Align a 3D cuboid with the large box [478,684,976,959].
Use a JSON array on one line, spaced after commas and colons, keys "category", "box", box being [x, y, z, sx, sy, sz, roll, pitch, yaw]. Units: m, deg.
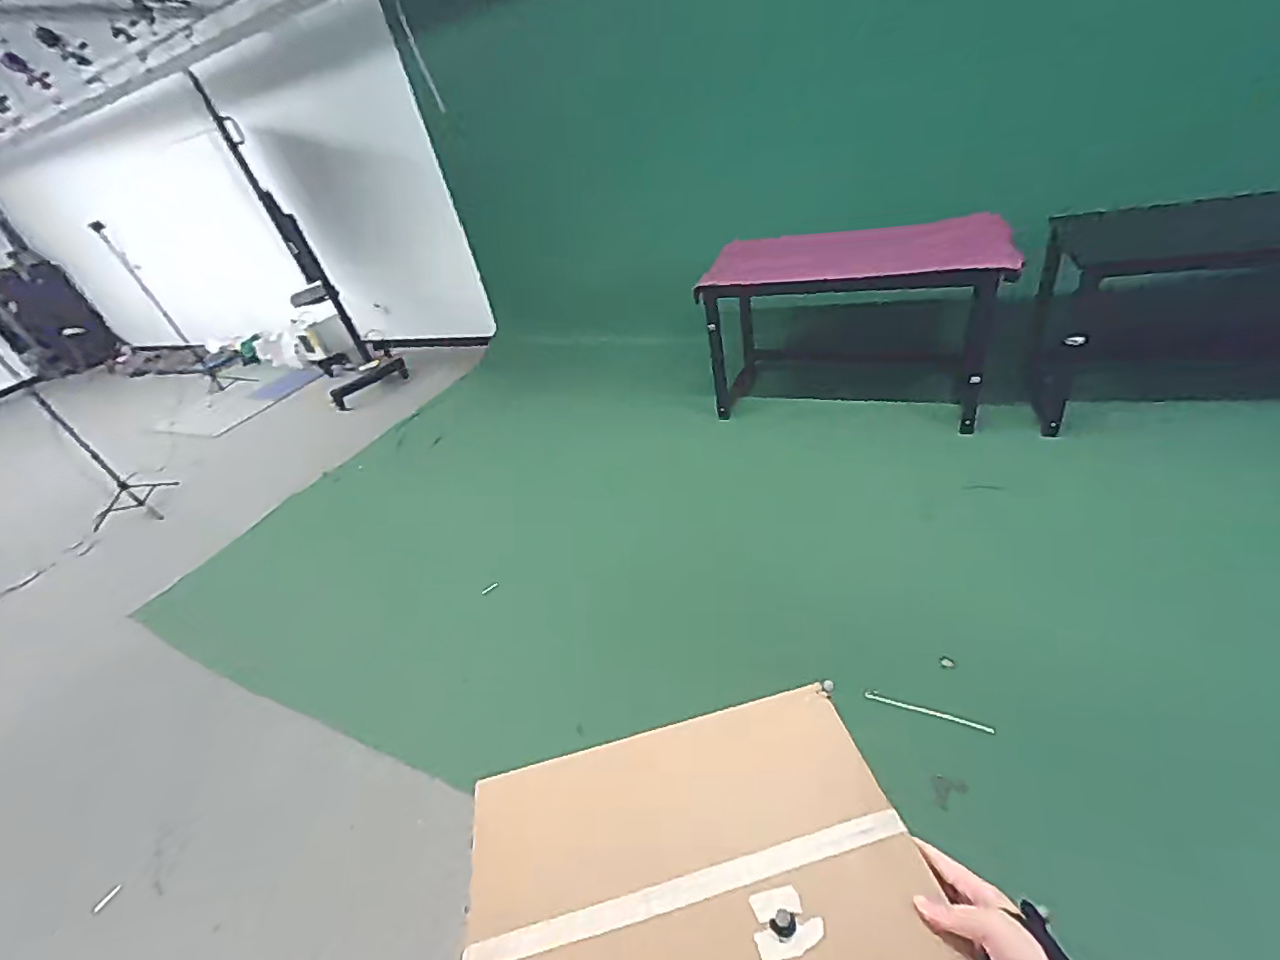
[{"category": "large box", "box": [0.066, 0.488, 0.577, 0.408, 0.320, 0.320, -12, 34, -6]}]
